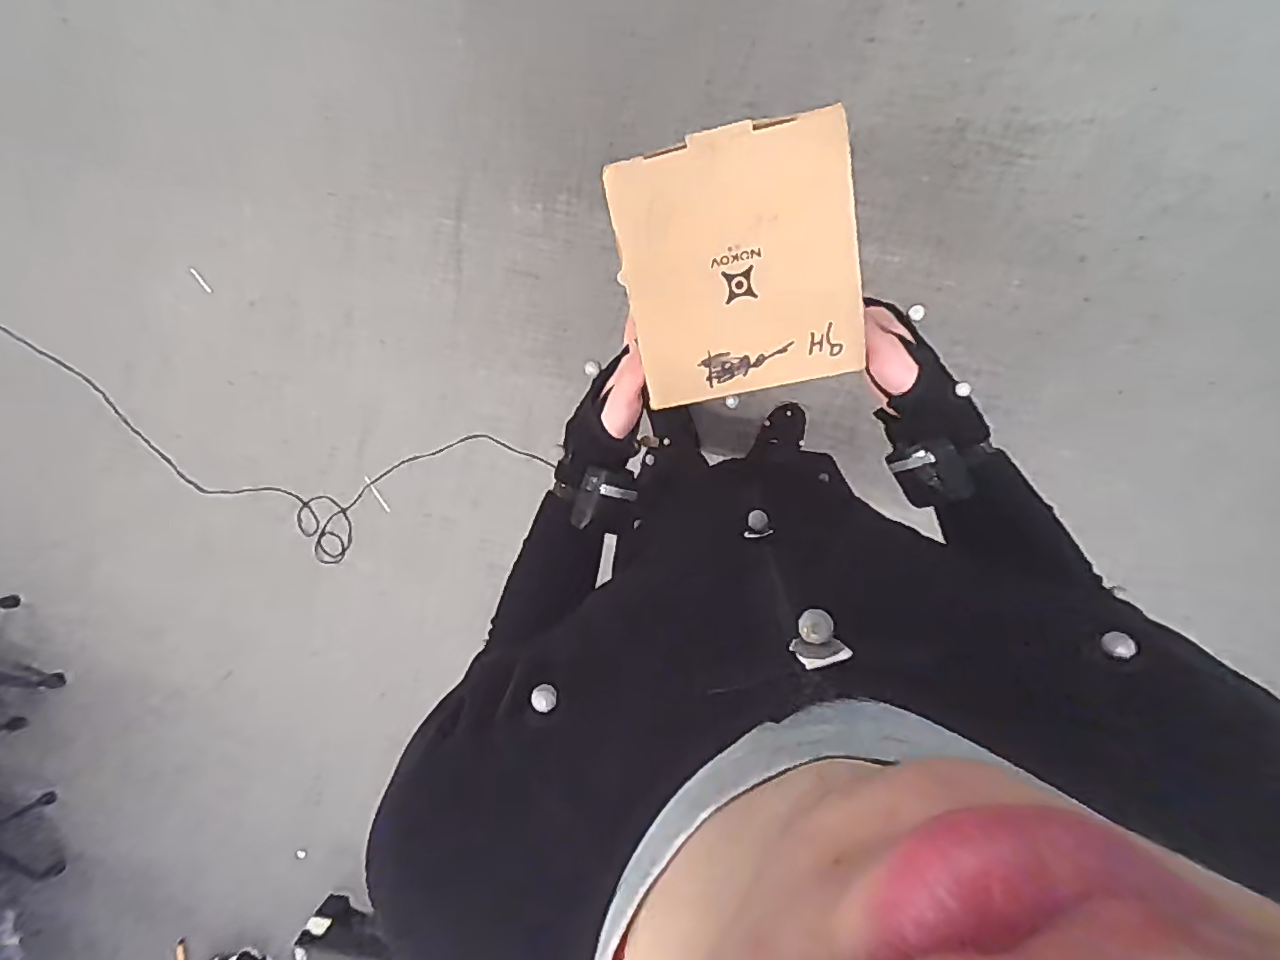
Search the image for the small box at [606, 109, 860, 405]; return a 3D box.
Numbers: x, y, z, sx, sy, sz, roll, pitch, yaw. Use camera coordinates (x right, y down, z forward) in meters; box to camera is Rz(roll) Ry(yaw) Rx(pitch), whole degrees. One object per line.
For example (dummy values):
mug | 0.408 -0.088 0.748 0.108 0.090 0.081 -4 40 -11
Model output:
small box | 0.077 -0.176 0.464 0.168 0.176 0.179 -9 108 10
